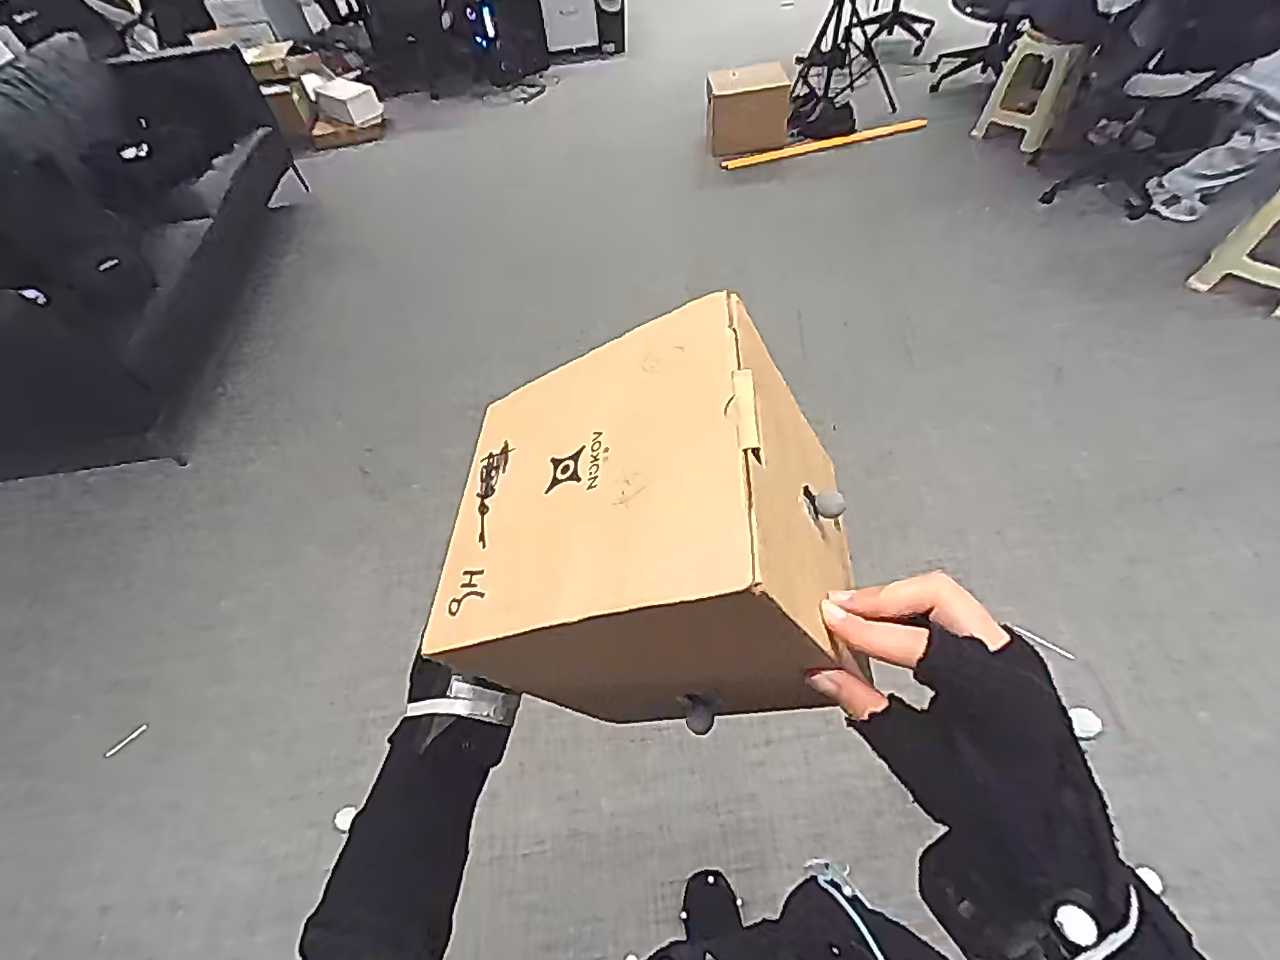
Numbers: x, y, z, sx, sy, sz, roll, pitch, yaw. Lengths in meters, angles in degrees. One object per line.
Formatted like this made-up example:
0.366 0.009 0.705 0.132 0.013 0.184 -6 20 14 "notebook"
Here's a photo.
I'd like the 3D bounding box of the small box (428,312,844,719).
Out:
0.013 0.040 0.332 0.179 0.176 0.168 -18 49 27 "small box"
